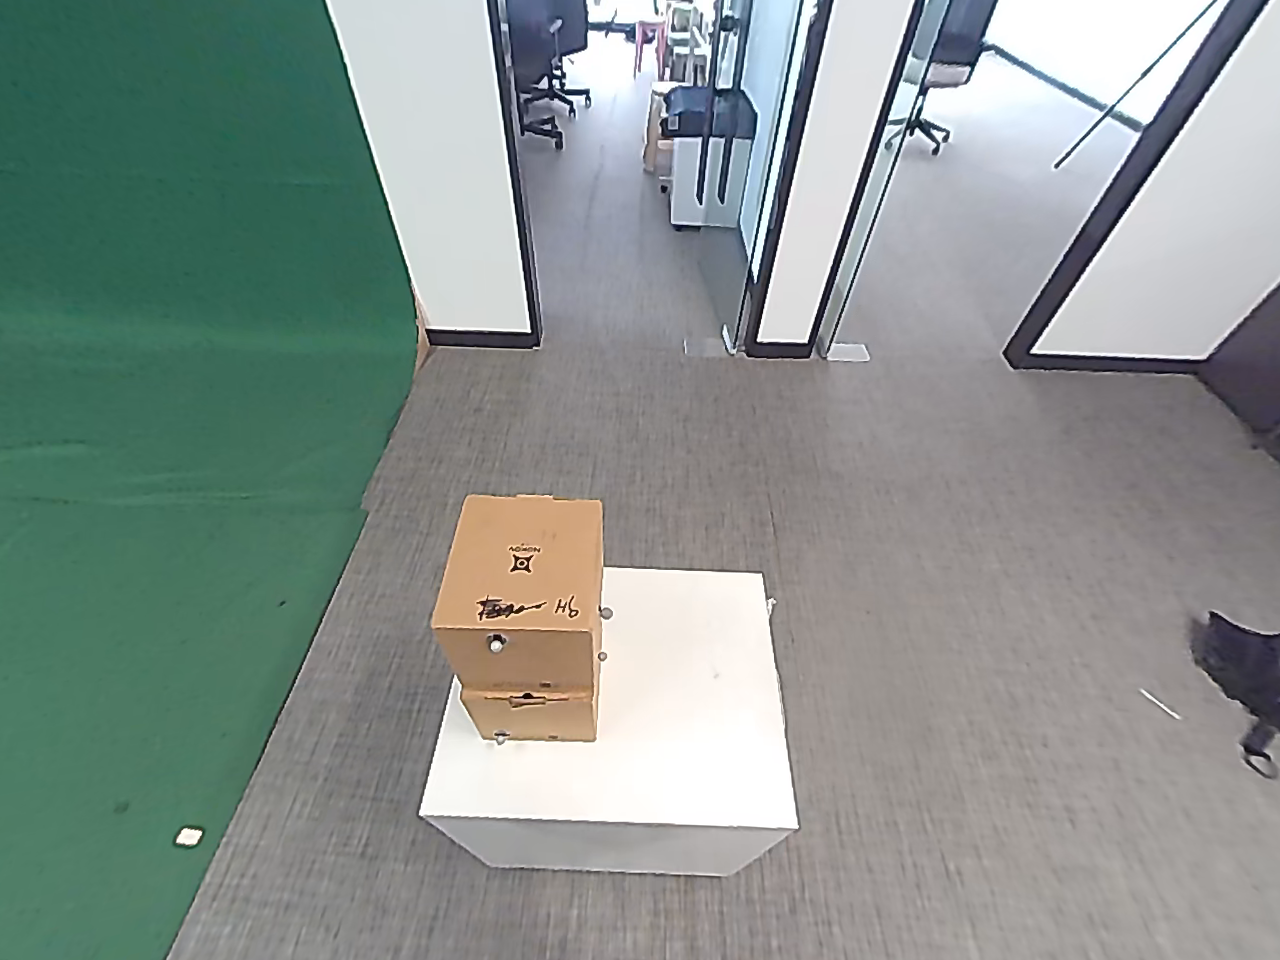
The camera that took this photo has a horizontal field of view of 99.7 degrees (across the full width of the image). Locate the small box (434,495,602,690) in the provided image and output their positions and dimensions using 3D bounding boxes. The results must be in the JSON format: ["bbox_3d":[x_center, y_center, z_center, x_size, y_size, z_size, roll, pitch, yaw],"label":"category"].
[{"bbox_3d":[-0.134,0.140,0.670,0.168,0.176,0.179,2,48,-1],"label":"small box"}]

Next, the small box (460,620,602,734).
[{"bbox_3d":[-0.144,0.255,0.786,0.168,0.176,0.179,2,48,-1],"label":"small box"}]
